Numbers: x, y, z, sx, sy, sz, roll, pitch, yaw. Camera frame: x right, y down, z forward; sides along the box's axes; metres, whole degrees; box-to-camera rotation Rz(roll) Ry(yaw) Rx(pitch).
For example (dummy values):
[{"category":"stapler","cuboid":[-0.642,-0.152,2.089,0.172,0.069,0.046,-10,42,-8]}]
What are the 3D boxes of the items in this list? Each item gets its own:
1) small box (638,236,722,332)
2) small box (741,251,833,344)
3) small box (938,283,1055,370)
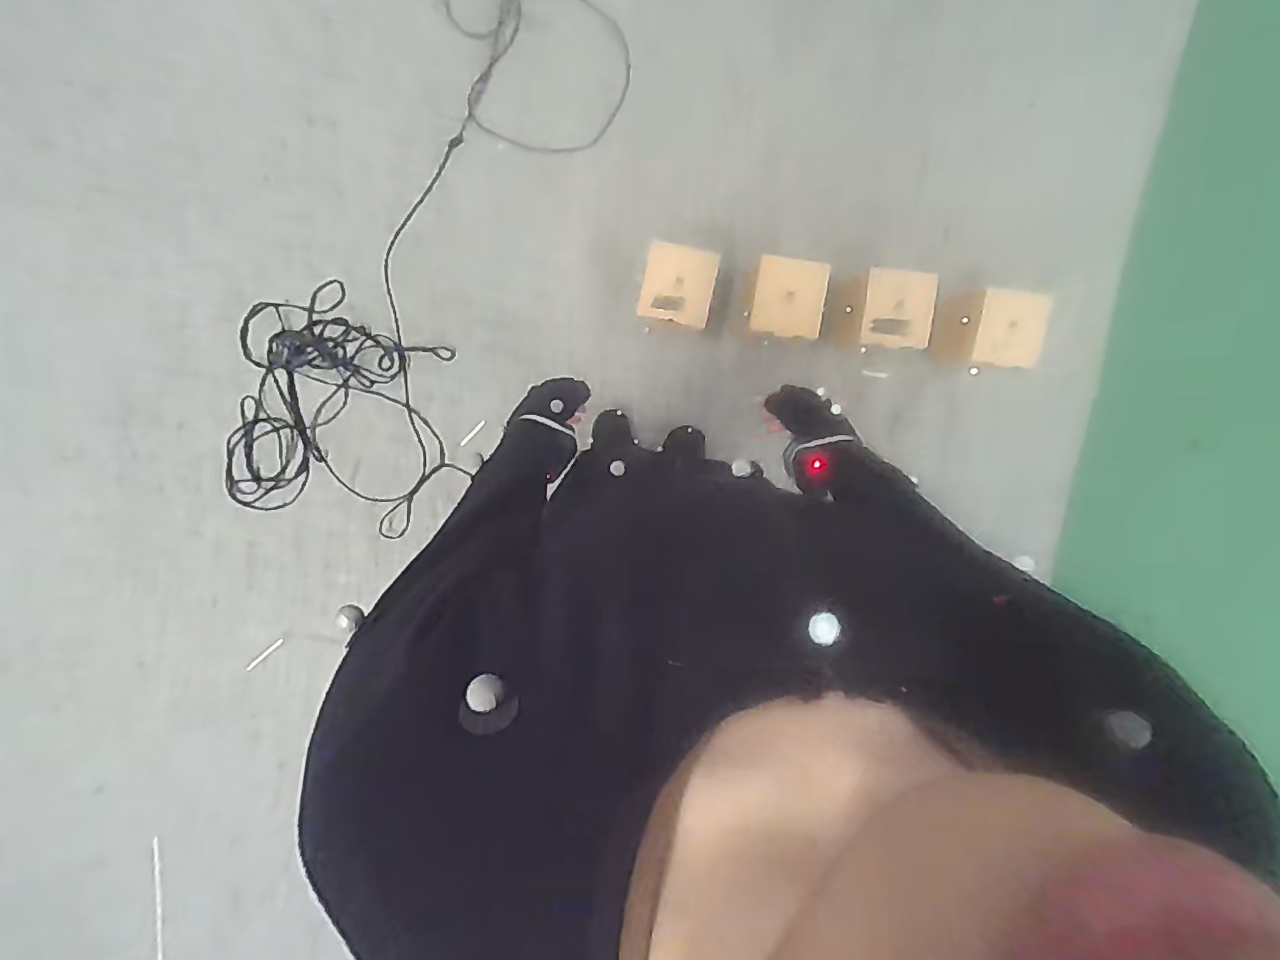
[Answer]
[{"category":"small box","cuboid":[0.096,-0.474,1.337,0.168,0.176,0.179,12,98,-2]},{"category":"small box","cuboid":[0.356,-0.446,1.342,0.168,0.176,0.179,8,98,-1]},{"category":"small box","cuboid":[0.881,-0.377,1.355,0.168,0.176,0.179,8,99,-1]}]
